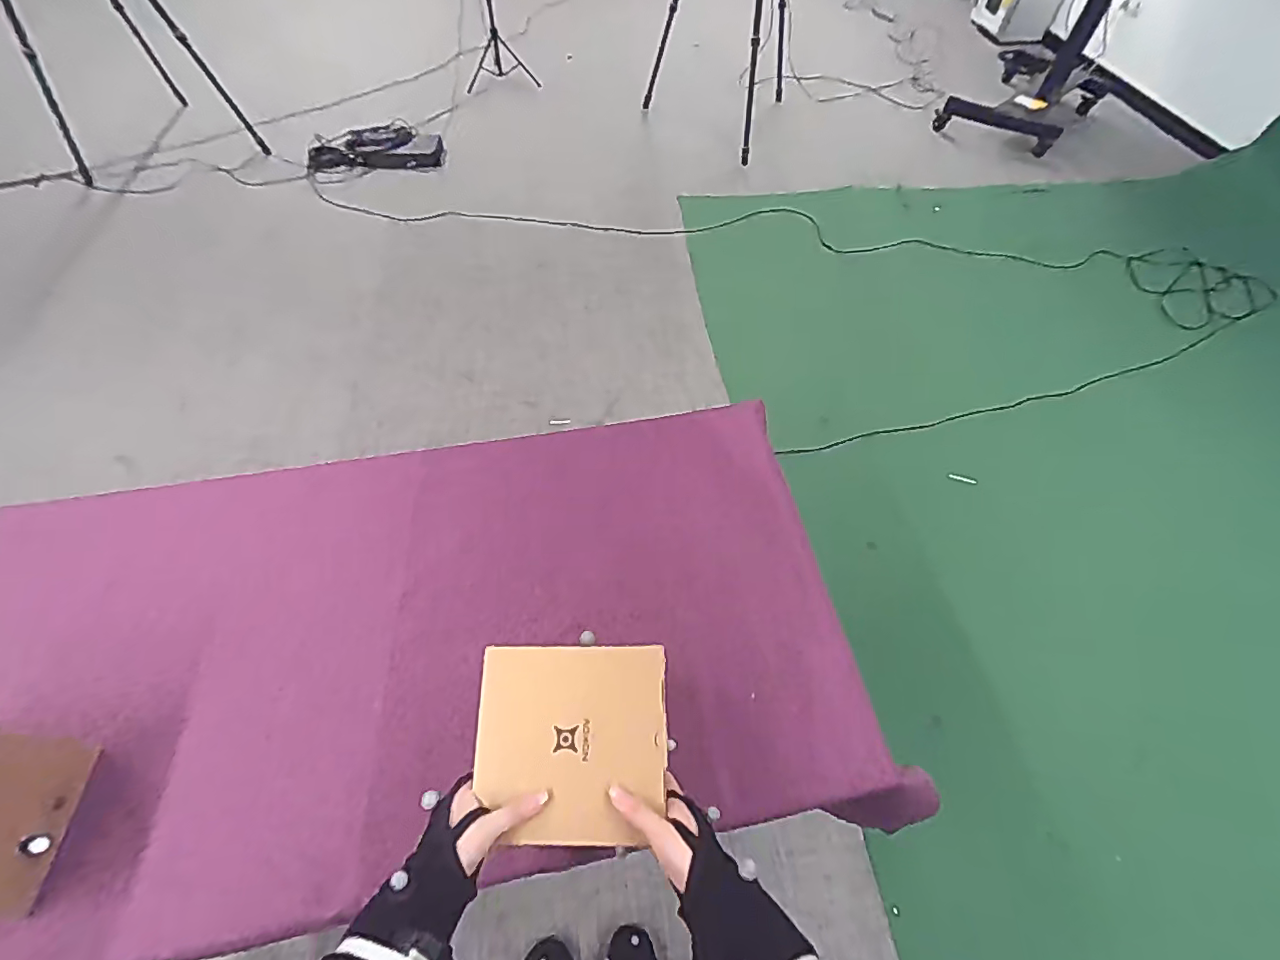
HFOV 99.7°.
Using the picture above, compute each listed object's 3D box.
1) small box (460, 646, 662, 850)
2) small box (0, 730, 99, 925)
[{"bbox_3d":[-0.066,0.267,0.565,0.179,0.176,0.168,0,69,1],"label":"small box"},{"bbox_3d":[-0.720,0.349,0.532,0.179,0.176,0.168,-2,57,-4],"label":"small box"}]
